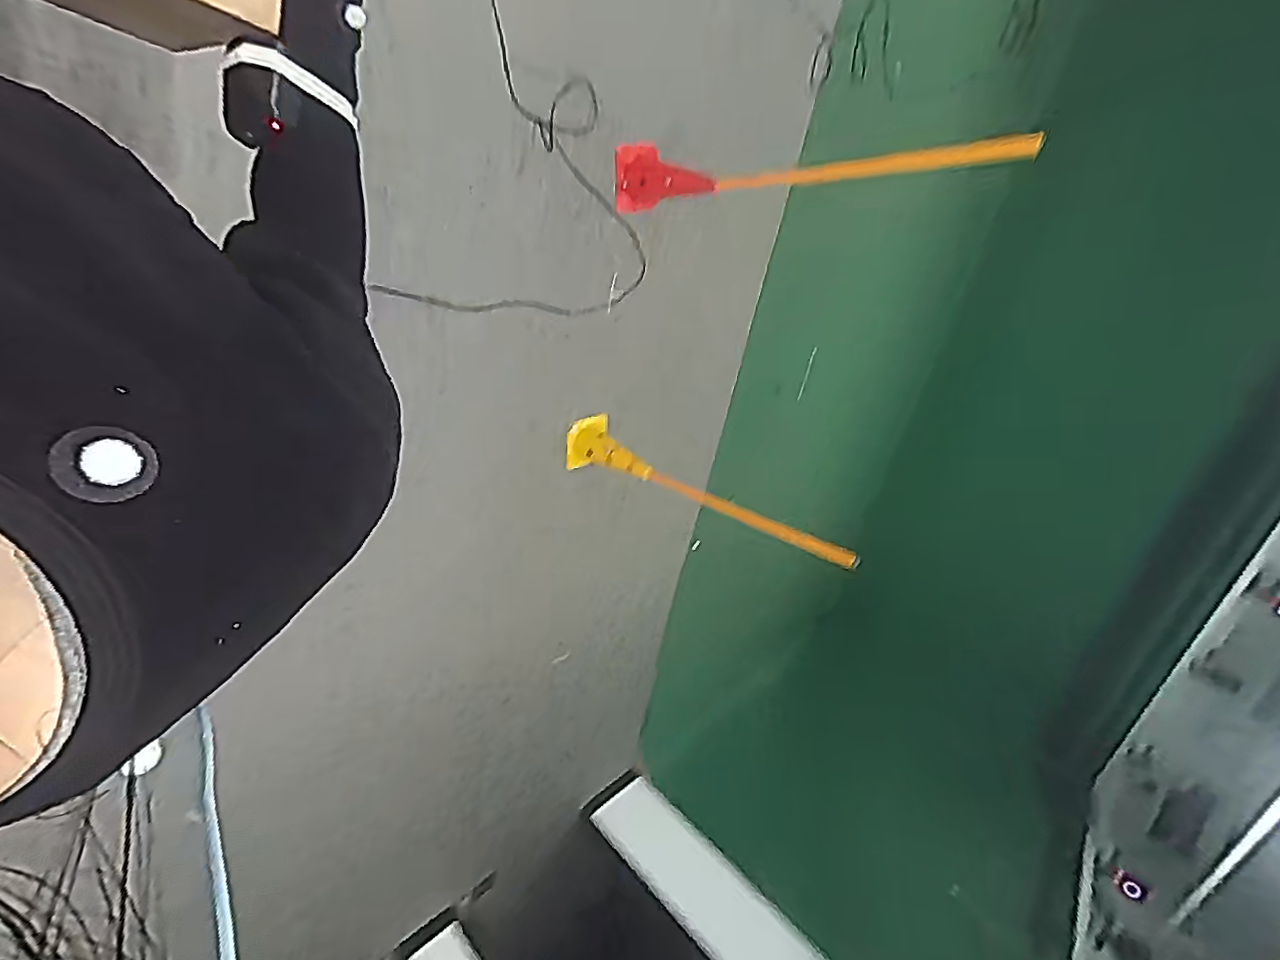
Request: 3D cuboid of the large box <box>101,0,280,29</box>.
[{"bbox_3d":[-0.476,-0.538,0.306,0.408,0.320,0.320,-7,120,-49],"label":"large box"}]
